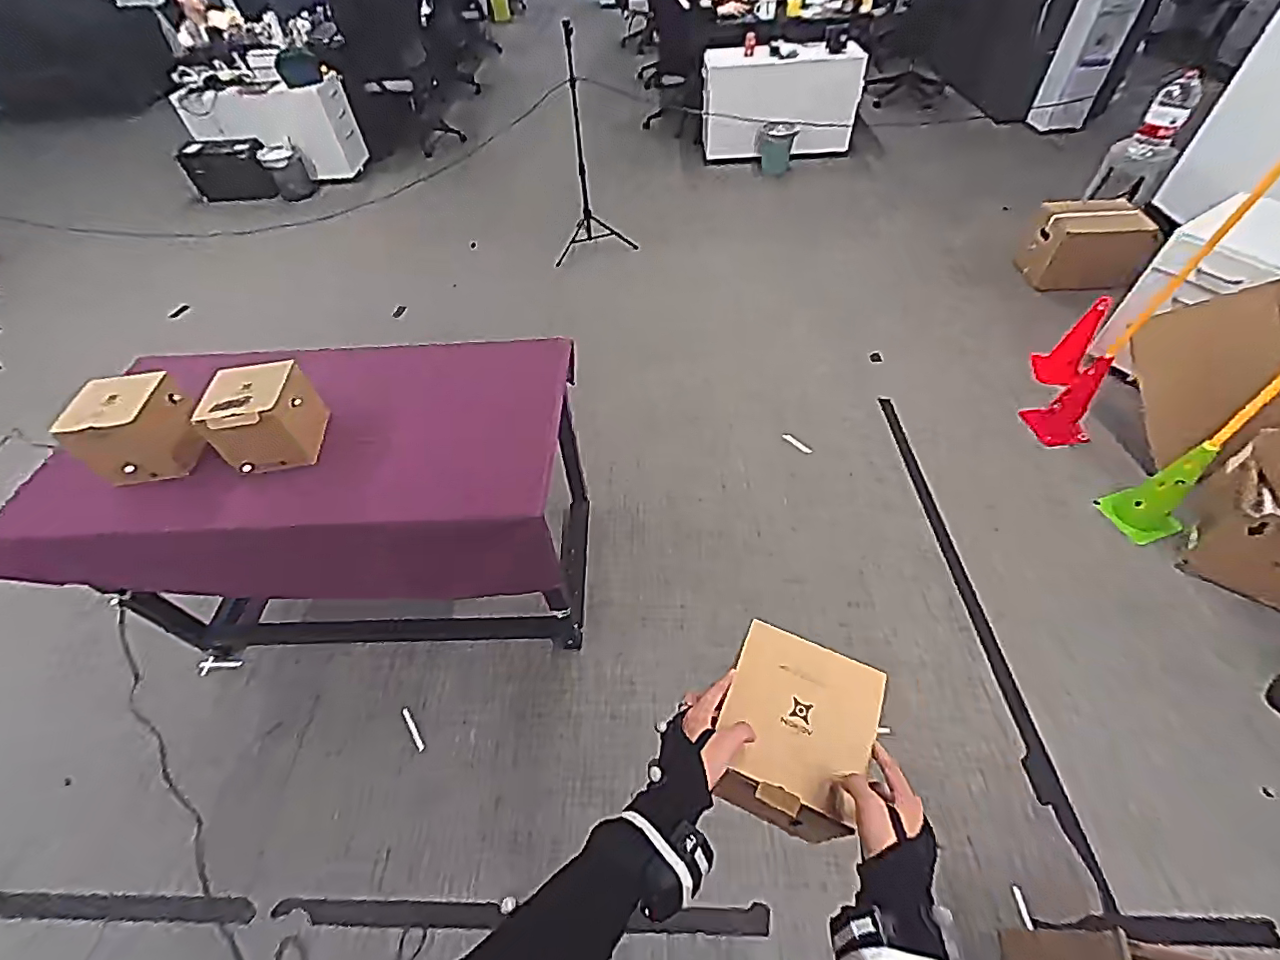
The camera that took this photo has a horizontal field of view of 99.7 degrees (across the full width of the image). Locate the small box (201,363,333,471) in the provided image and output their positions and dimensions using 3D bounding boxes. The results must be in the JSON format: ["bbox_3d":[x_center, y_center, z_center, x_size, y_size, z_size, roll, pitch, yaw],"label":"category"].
[{"bbox_3d":[-0.827,-0.136,1.222,0.168,0.176,0.179,-9,49,-4],"label":"small box"}]

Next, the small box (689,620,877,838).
[{"bbox_3d":[0.167,0.312,0.669,0.168,0.176,0.179,21,55,14],"label":"small box"}]

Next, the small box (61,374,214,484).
[{"bbox_3d":[-1.109,-0.114,1.220,0.168,0.176,0.179,-8,50,-3],"label":"small box"}]
